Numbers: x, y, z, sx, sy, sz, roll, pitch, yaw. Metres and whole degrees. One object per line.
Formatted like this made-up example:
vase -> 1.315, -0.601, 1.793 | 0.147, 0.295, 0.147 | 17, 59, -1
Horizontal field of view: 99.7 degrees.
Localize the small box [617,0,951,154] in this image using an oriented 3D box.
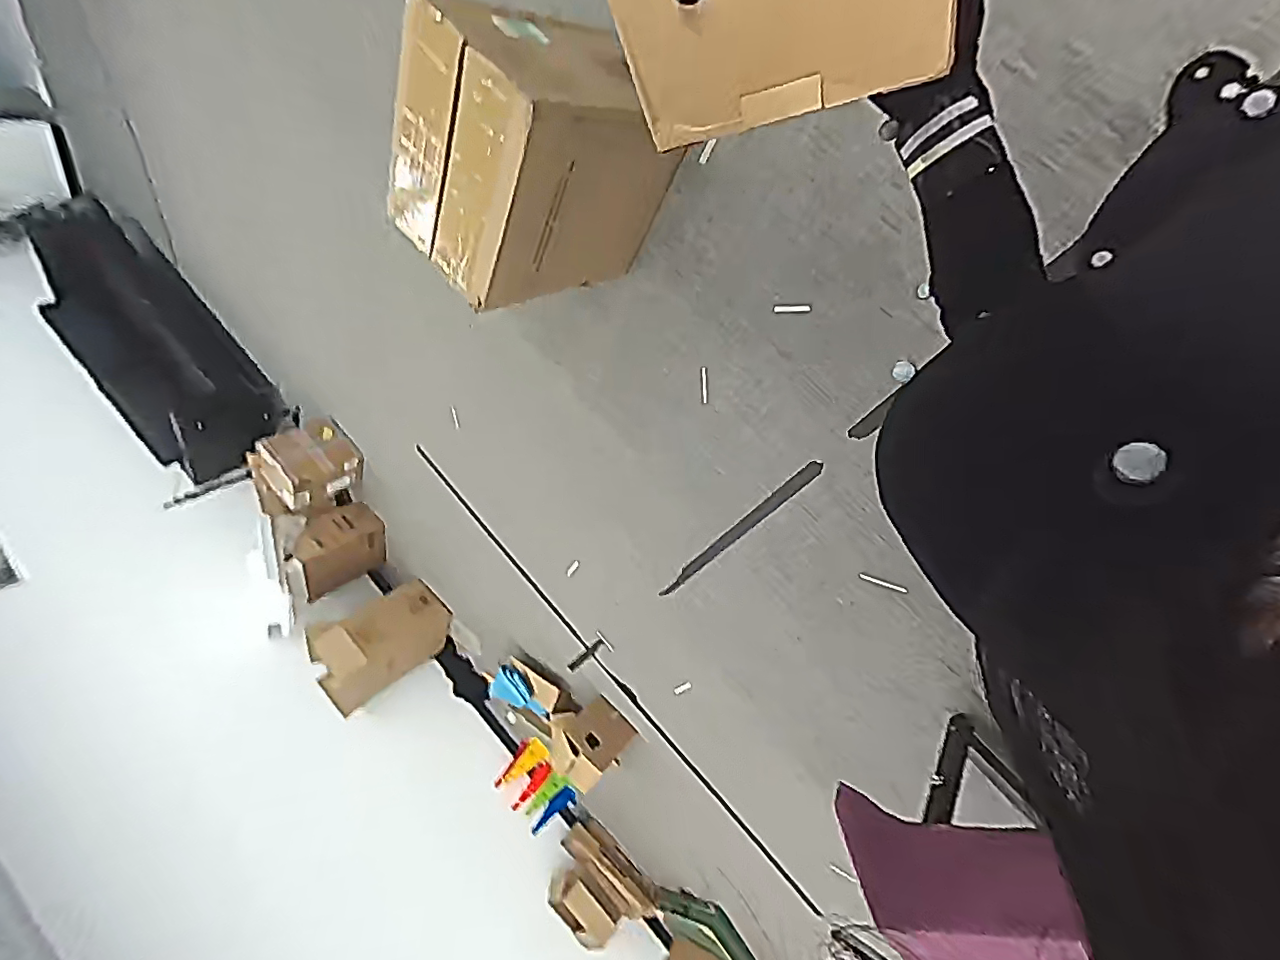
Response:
small box -> 0.080, -0.326, 0.301 | 0.168, 0.179, 0.176 | 4, 143, 30
